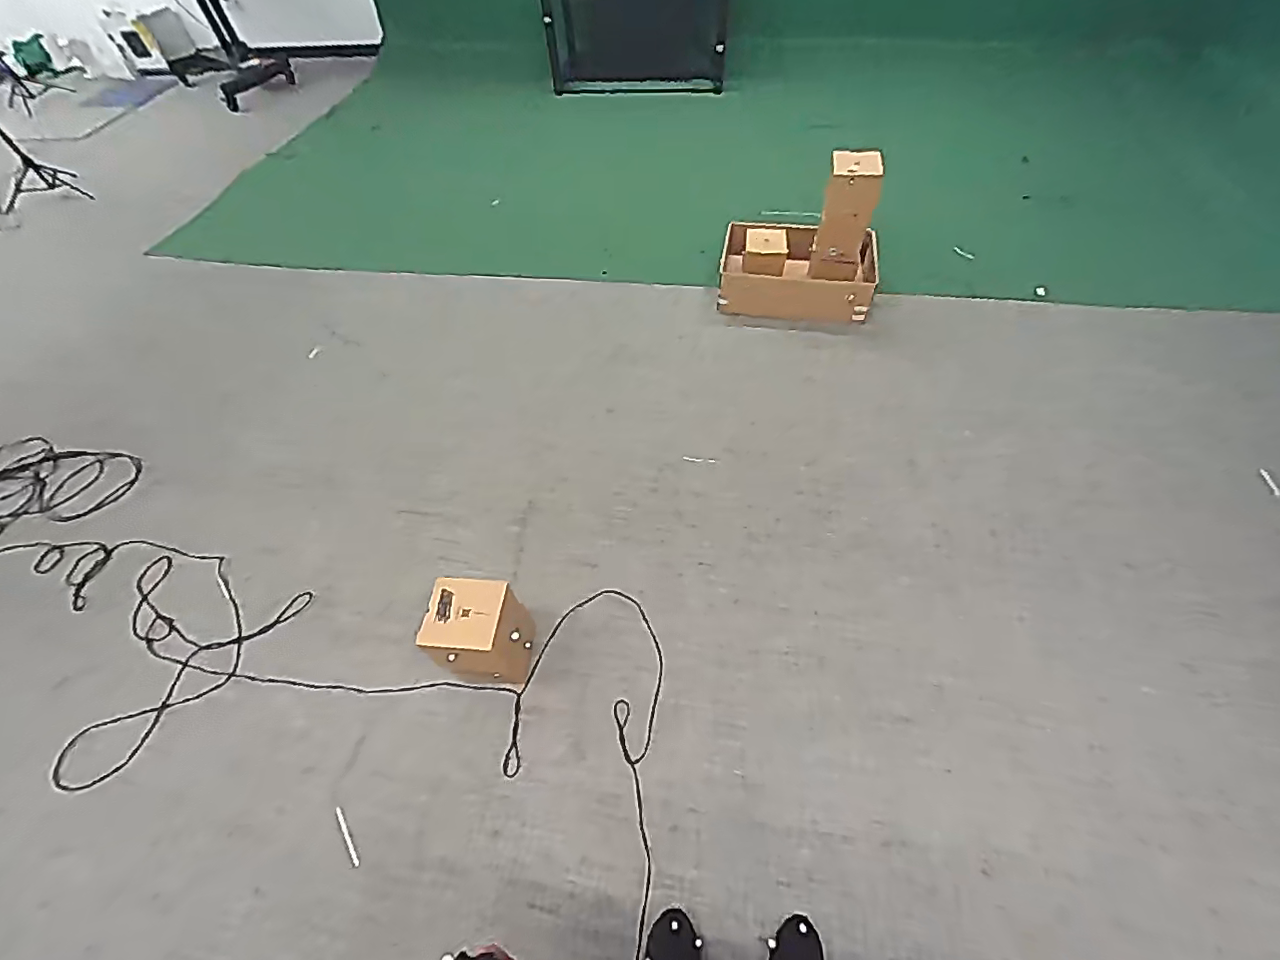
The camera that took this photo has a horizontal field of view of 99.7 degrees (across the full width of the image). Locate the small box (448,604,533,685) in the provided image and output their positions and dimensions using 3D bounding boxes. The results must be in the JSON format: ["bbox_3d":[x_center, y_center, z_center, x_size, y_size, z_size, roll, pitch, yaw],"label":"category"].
[{"bbox_3d":[-0.391,0.435,1.429,0.179,0.176,0.168,-1,53,4],"label":"small box"}]

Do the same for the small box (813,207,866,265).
[{"bbox_3d":[0.779,-0.973,2.119,0.168,0.176,0.179,8,57,11],"label":"small box"}]

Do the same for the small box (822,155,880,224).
[{"bbox_3d":[0.768,-1.068,1.985,0.168,0.176,0.179,6,54,10],"label":"small box"}]

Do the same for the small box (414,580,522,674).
[{"bbox_3d":[-0.399,0.352,1.287,0.179,0.176,0.168,2,54,5],"label":"small box"}]

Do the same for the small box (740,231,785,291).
[{"bbox_3d":[0.521,-0.938,2.314,0.168,0.176,0.179,4,55,6],"label":"small box"}]
